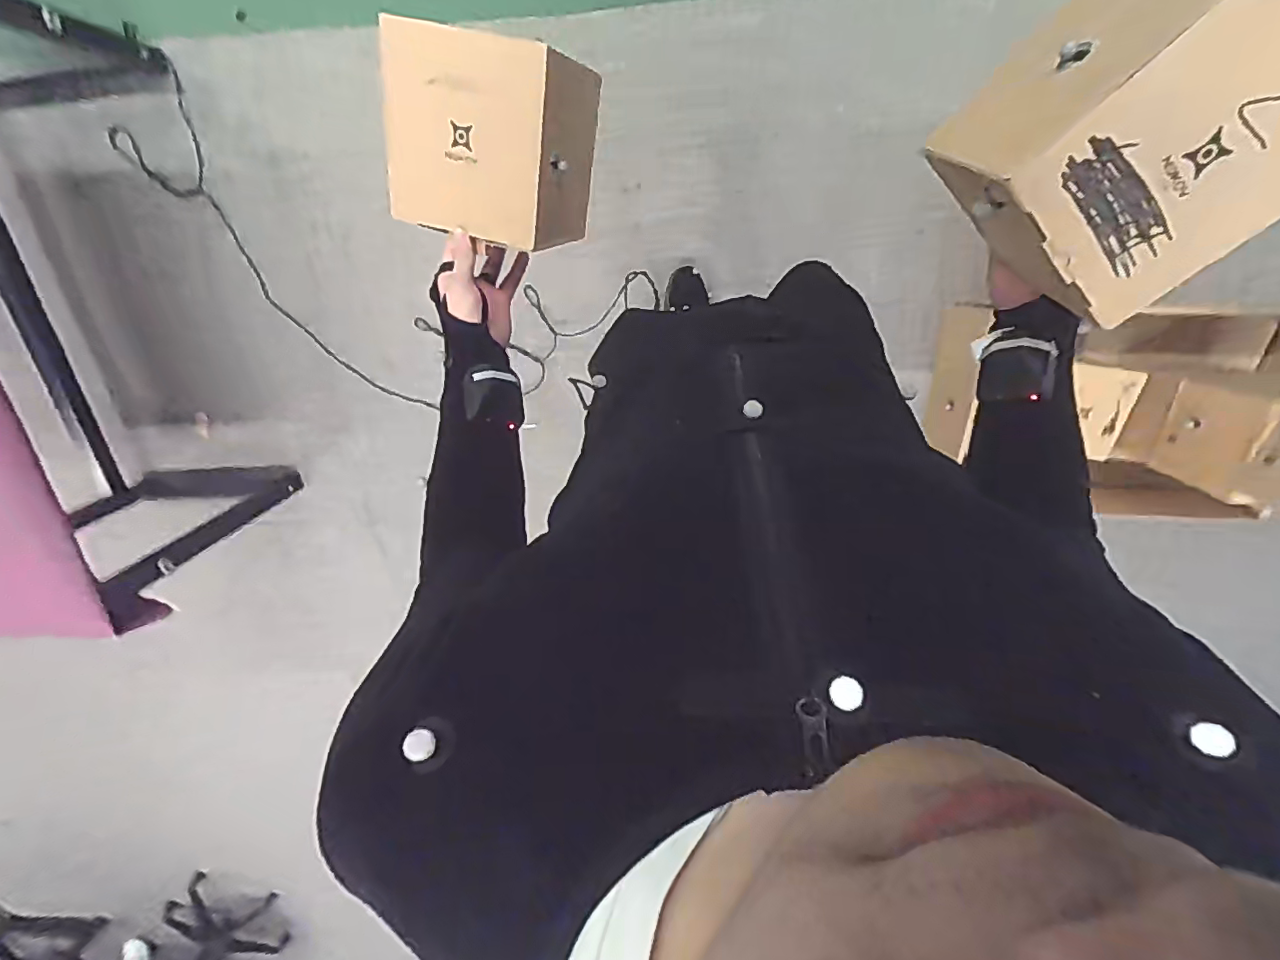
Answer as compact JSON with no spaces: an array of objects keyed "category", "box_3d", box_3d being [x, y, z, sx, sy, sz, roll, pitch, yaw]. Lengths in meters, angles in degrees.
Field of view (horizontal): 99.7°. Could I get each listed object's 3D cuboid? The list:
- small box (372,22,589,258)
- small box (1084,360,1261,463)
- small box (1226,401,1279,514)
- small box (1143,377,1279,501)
[{"category":"small box","box_3d":[-0.164,-0.364,0.598,0.168,0.176,0.179,15,121,6]},{"category":"small box","box_3d":[1.025,-0.135,1.044,0.179,0.176,0.168,2,112,4]},{"category":"small box","box_3d":[1.004,-0.013,0.742,0.179,0.176,0.168,11,113,1]},{"category":"small box","box_3d":[1.011,-0.073,0.895,0.179,0.176,0.168,2,113,5]}]
